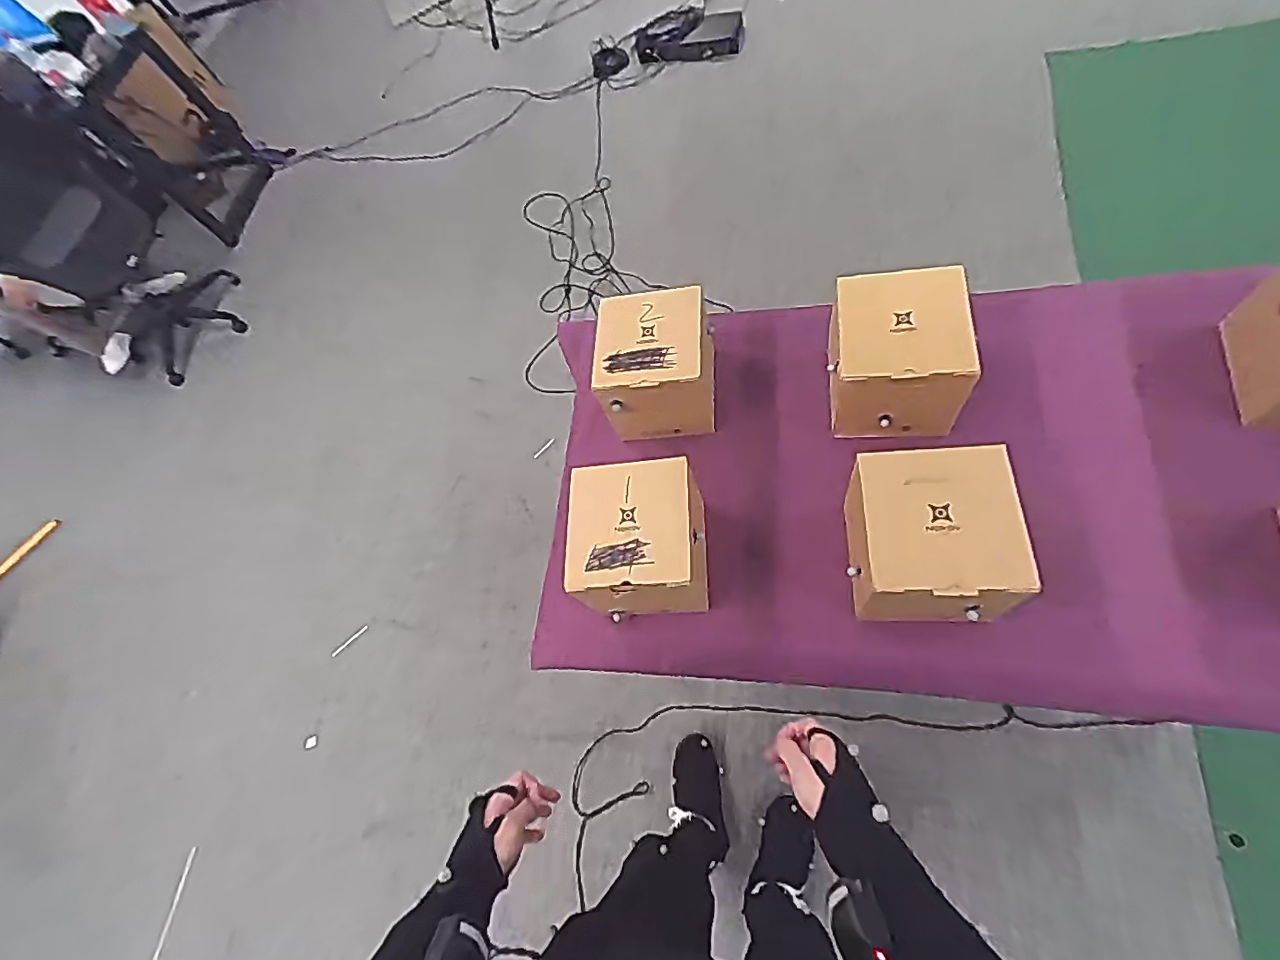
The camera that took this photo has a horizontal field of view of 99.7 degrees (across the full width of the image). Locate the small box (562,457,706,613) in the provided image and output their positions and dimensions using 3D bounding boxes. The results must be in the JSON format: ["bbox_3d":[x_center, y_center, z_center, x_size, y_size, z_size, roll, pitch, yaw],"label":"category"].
[{"bbox_3d":[0.000,0.089,0.768,0.168,0.176,0.179,-6,63,12],"label":"small box"}]

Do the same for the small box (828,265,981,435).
[{"bbox_3d":[0.369,-0.181,0.789,0.168,0.176,0.179,-1,68,15],"label":"small box"}]

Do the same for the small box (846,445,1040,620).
[{"bbox_3d":[0.357,0.075,0.676,0.168,0.176,0.179,-3,65,14],"label":"small box"}]

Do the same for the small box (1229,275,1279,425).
[{"bbox_3d":[0.868,-0.177,0.643,0.168,0.176,0.179,4,69,18],"label":"small box"}]
